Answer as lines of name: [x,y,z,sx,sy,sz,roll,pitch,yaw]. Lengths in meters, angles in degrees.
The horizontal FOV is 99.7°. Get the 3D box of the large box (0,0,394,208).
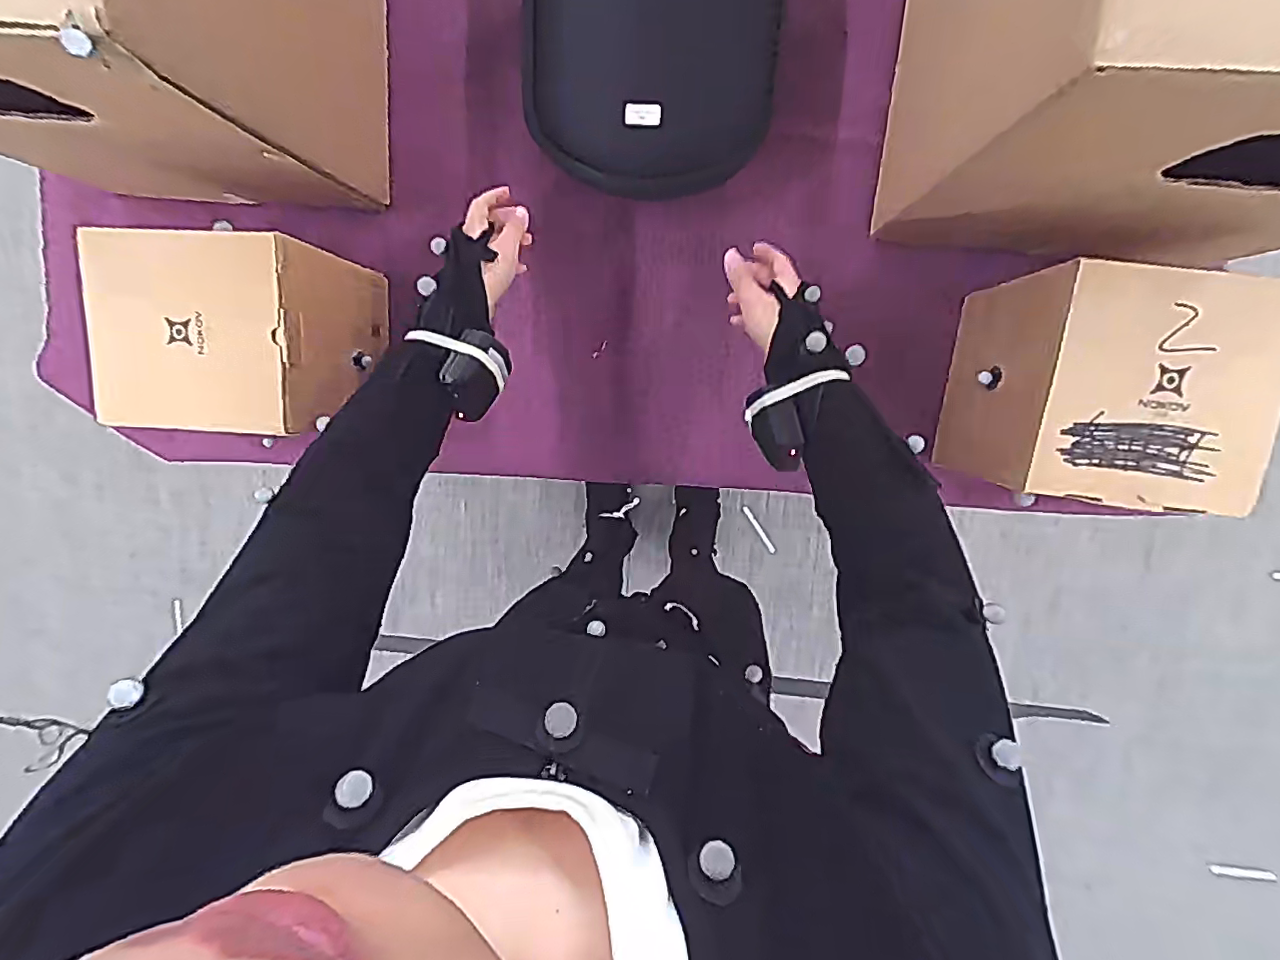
large box: [-0.415,-0.471,0.413,0.320,0.320,0.408,4,103,3]

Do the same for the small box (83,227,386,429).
small box: [-0.381,-0.139,0.540,0.179,0.176,0.168,3,99,3]
